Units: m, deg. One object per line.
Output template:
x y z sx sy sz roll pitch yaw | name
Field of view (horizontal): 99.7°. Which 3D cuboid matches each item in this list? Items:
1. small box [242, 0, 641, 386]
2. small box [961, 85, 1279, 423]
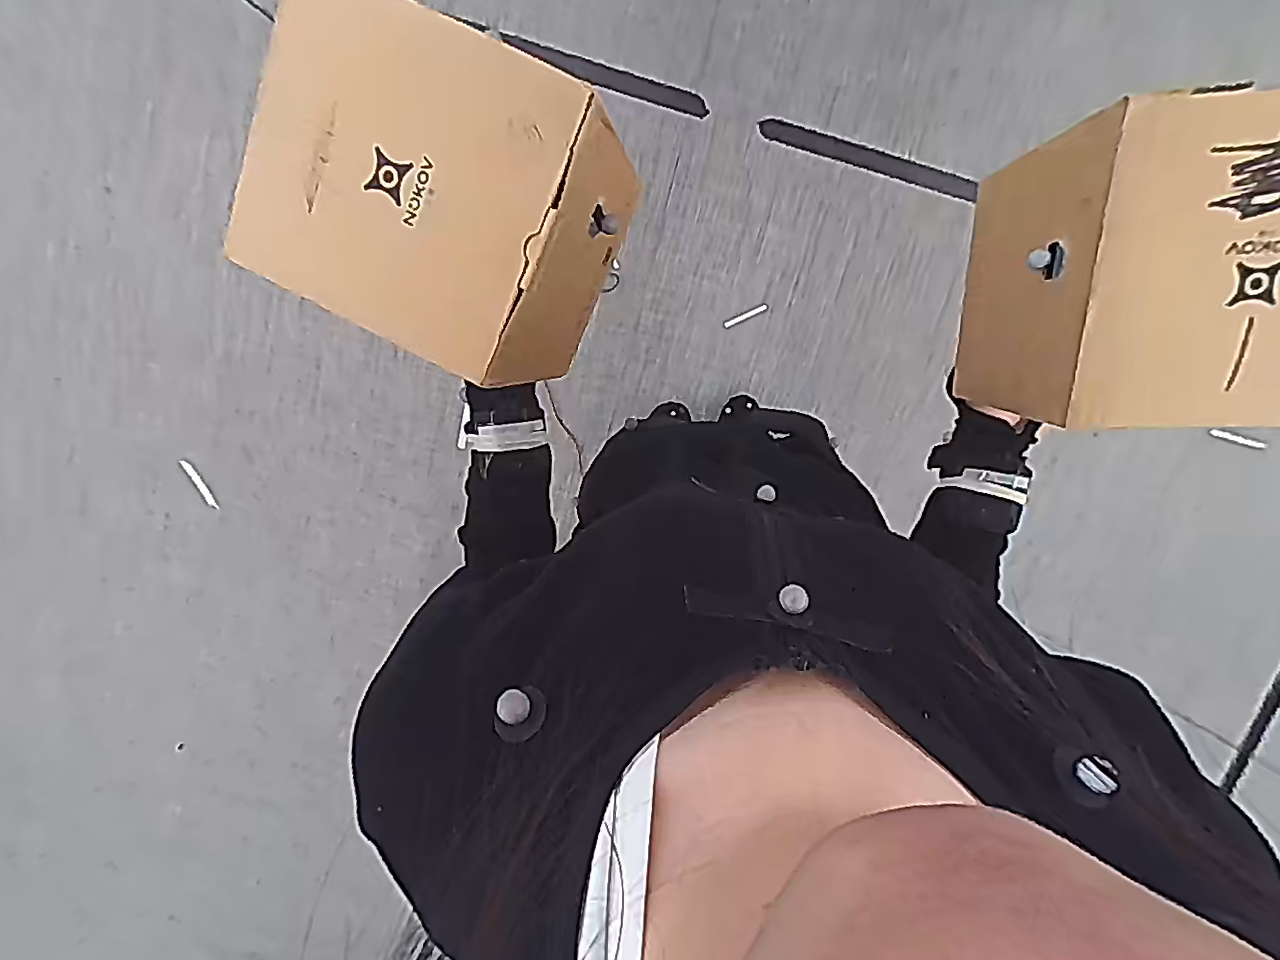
-0.113 -0.180 0.372 0.179 0.176 0.168 26 105 2 | small box
0.347 -0.137 0.371 0.168 0.176 0.179 0 105 9 | small box
